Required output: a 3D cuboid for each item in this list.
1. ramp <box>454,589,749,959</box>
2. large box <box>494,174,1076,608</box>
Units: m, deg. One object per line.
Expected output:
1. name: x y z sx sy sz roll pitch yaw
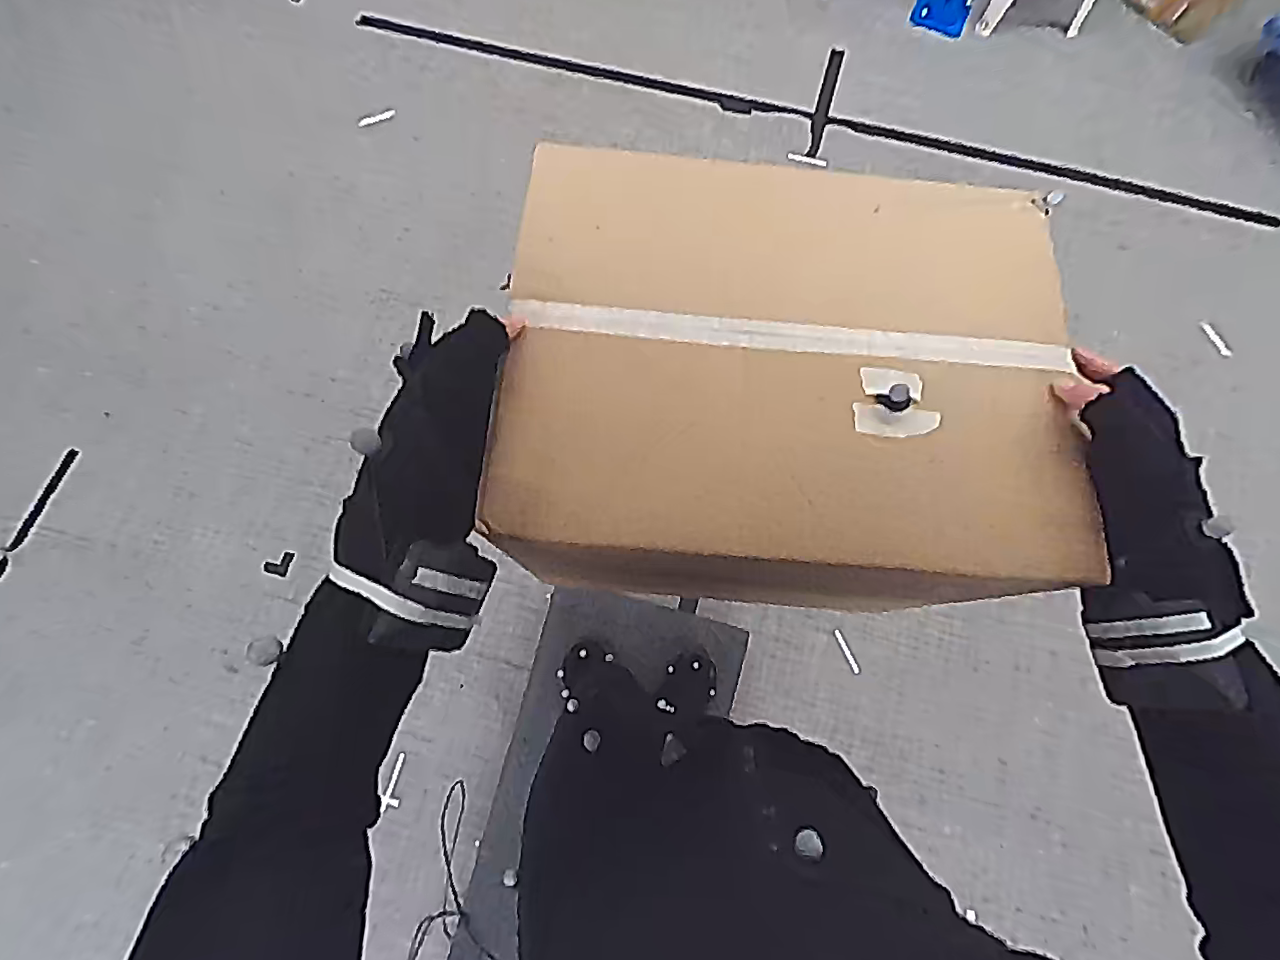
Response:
1. ramp: -0.090 0.770 1.296 0.509 0.206 0.991 14 76 2
2. large box: 0.099 -0.049 0.545 0.408 0.320 0.320 5 73 -2
